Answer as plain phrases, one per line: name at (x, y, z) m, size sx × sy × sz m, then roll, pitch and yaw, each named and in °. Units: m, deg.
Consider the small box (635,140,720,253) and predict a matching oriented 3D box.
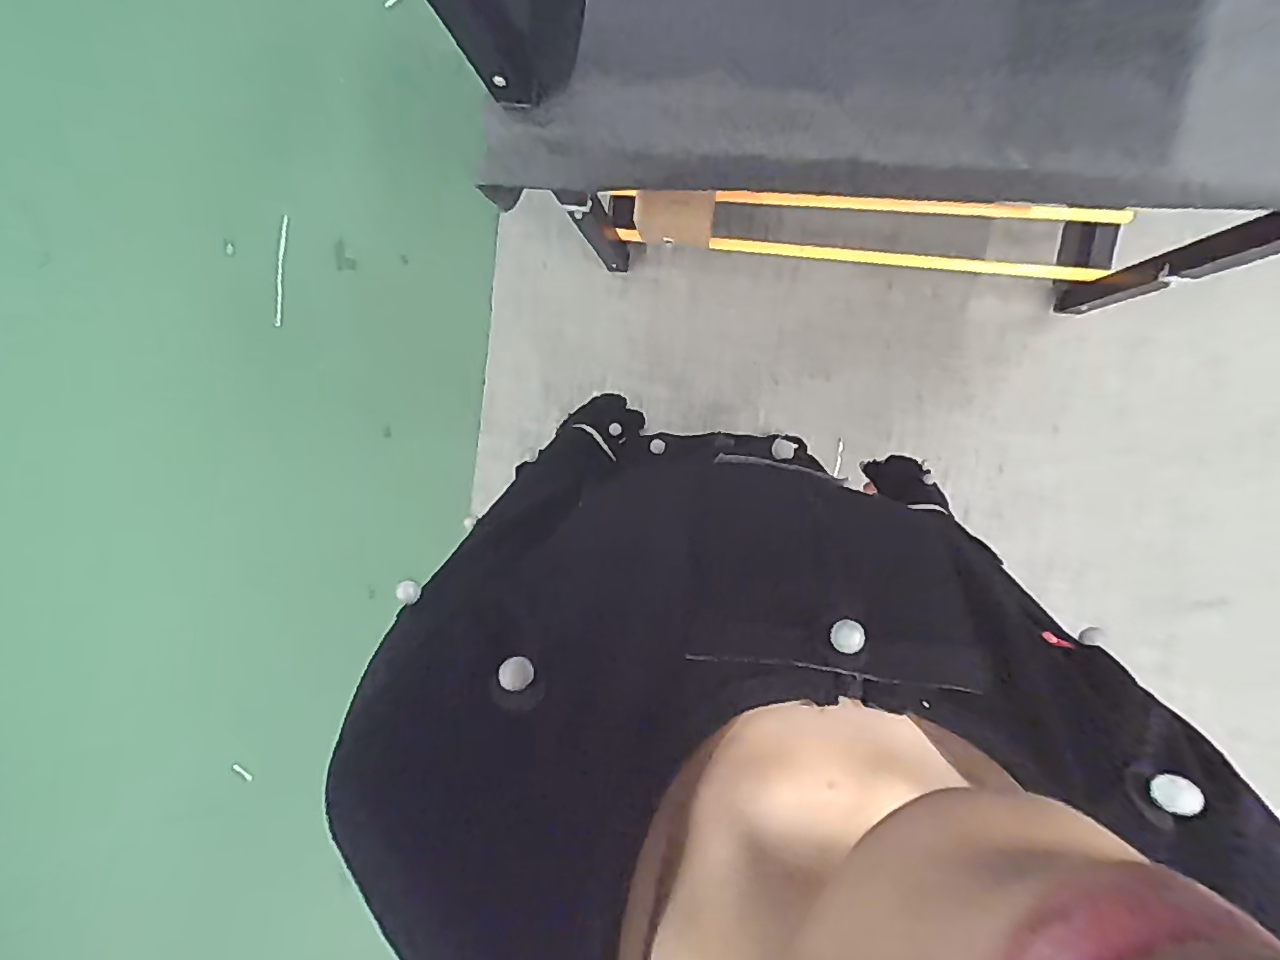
small box at (0.087, -0.641, 1.235) m, size 0.168 × 0.176 × 0.179 m, roll 7°, pitch 98°, yaw 6°
